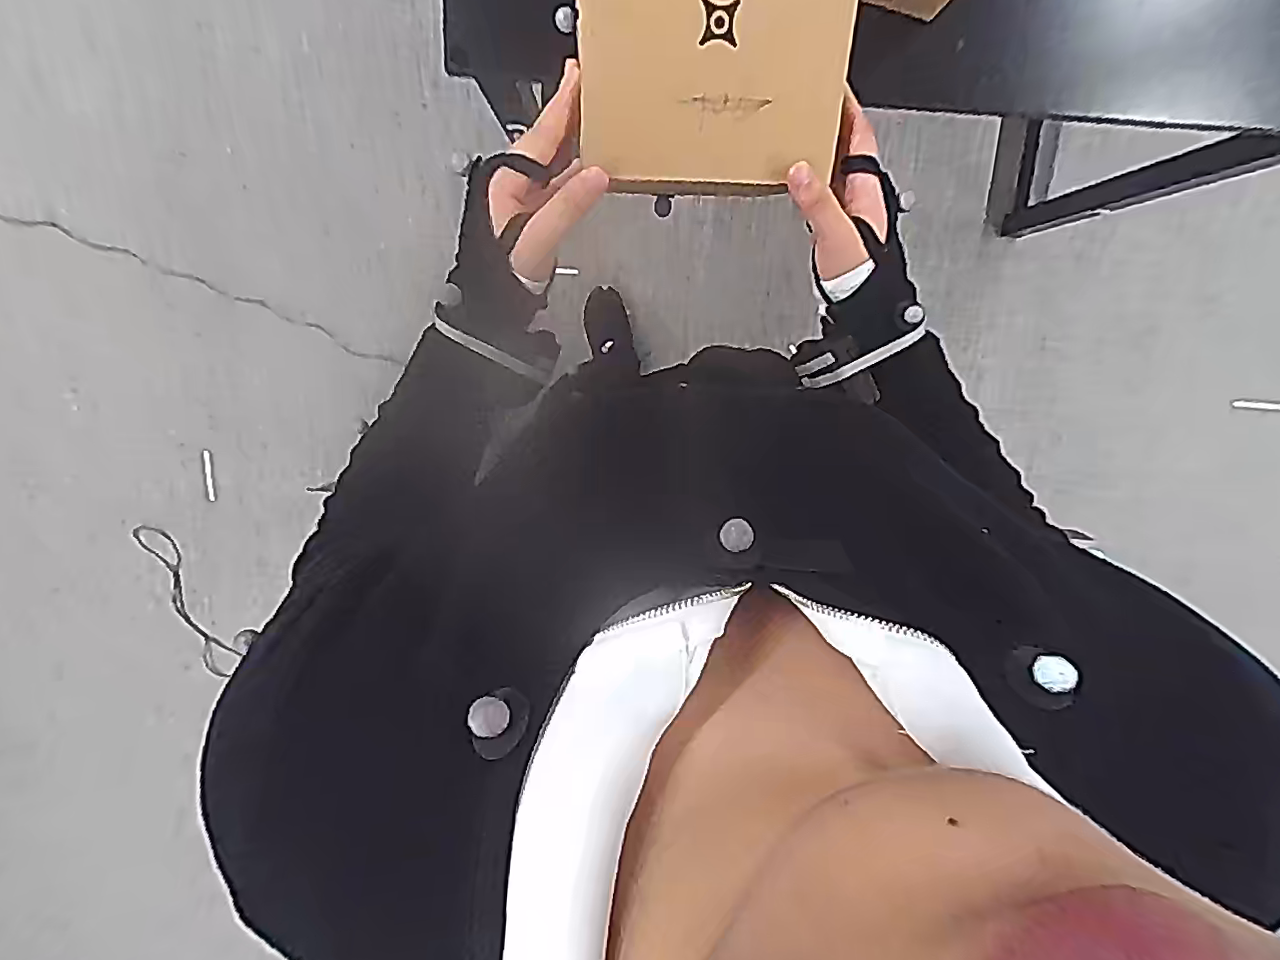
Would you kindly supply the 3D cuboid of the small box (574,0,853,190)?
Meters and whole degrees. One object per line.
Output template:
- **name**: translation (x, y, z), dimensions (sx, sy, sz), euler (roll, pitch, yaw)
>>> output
- **small box**: translation (0.037, -0.314, 0.386), dimensions (0.168, 0.176, 0.179), euler (-1, 116, -5)
